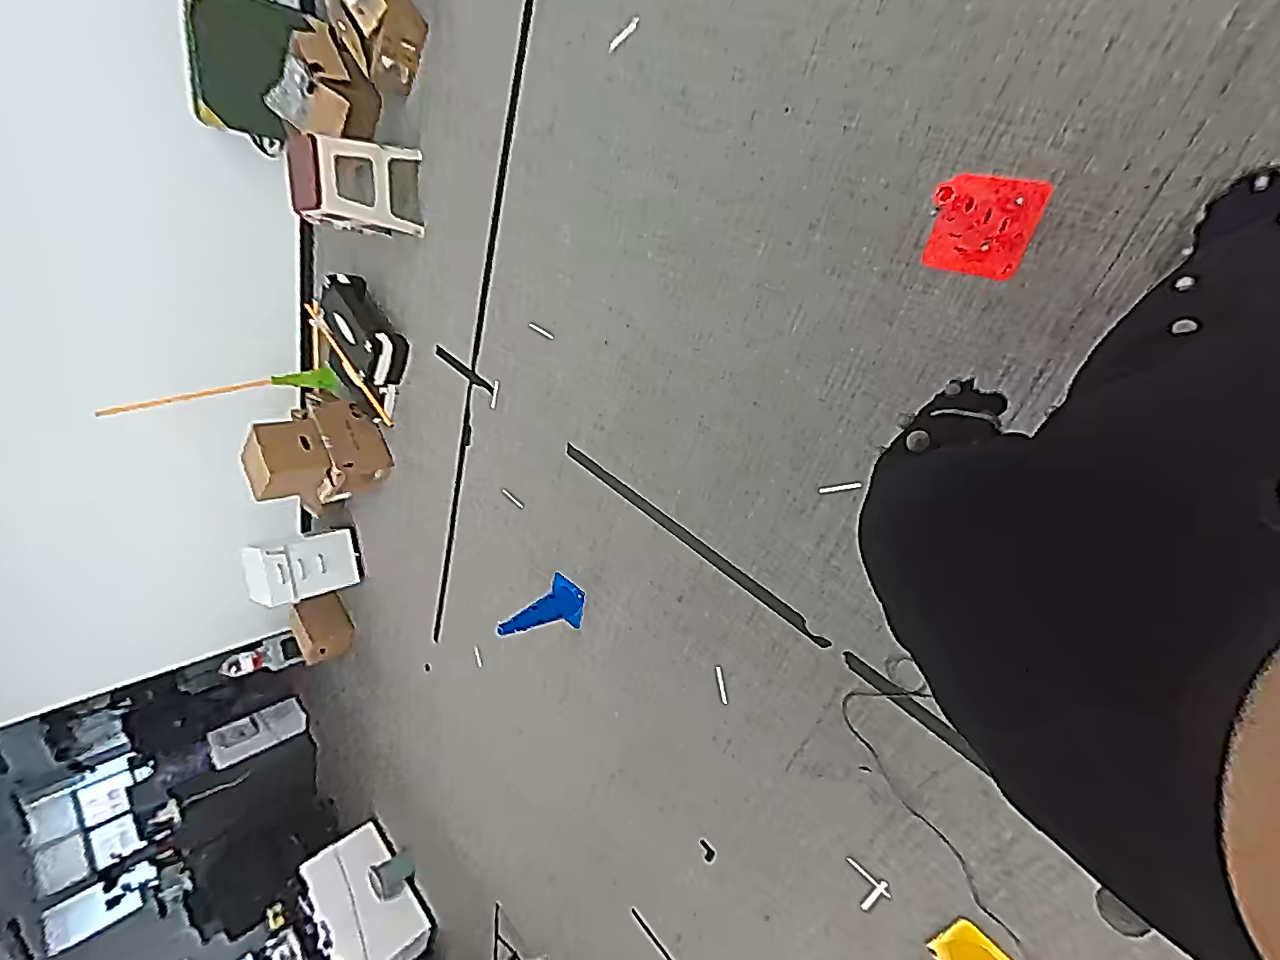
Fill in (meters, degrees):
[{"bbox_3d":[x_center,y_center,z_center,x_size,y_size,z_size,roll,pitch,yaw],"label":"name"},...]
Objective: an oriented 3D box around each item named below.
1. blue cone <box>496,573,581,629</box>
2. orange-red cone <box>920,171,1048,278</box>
[{"bbox_3d":[-0.443,0.553,2.283,0.193,0.380,0.192,31,119,33],"label":"blue cone"},{"bbox_3d":[0.636,-0.537,1.067,0.199,0.360,0.198,32,119,34],"label":"orange-red cone"}]
